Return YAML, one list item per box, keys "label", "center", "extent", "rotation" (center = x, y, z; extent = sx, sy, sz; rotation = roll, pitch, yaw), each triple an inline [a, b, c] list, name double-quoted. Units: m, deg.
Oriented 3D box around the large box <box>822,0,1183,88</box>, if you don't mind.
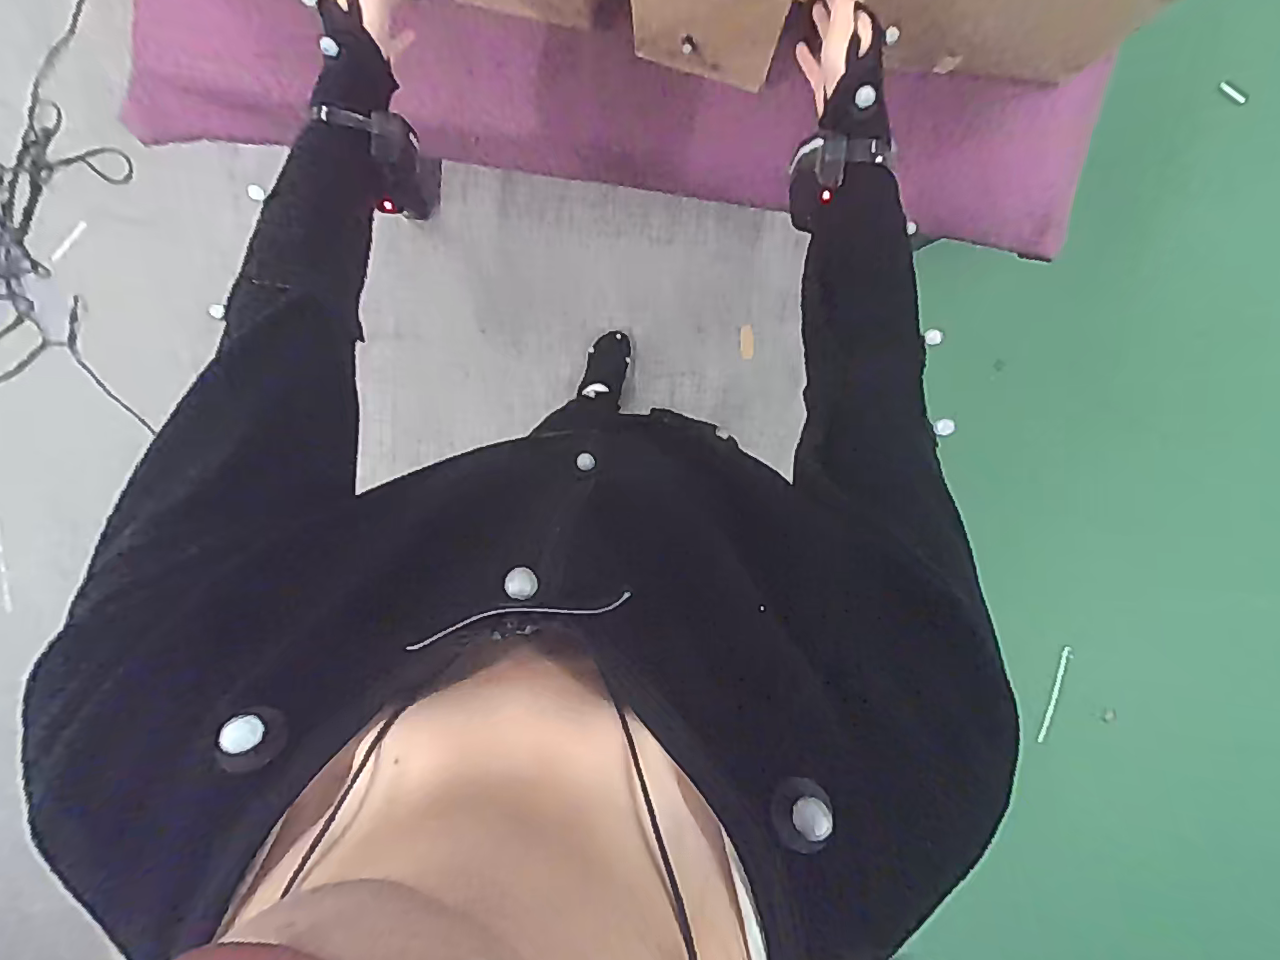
- label: "large box"
  center: [0.386, -0.665, 0.487]
  extent: [0.320, 0.320, 0.408]
  rotation: [7, 101, 3]
